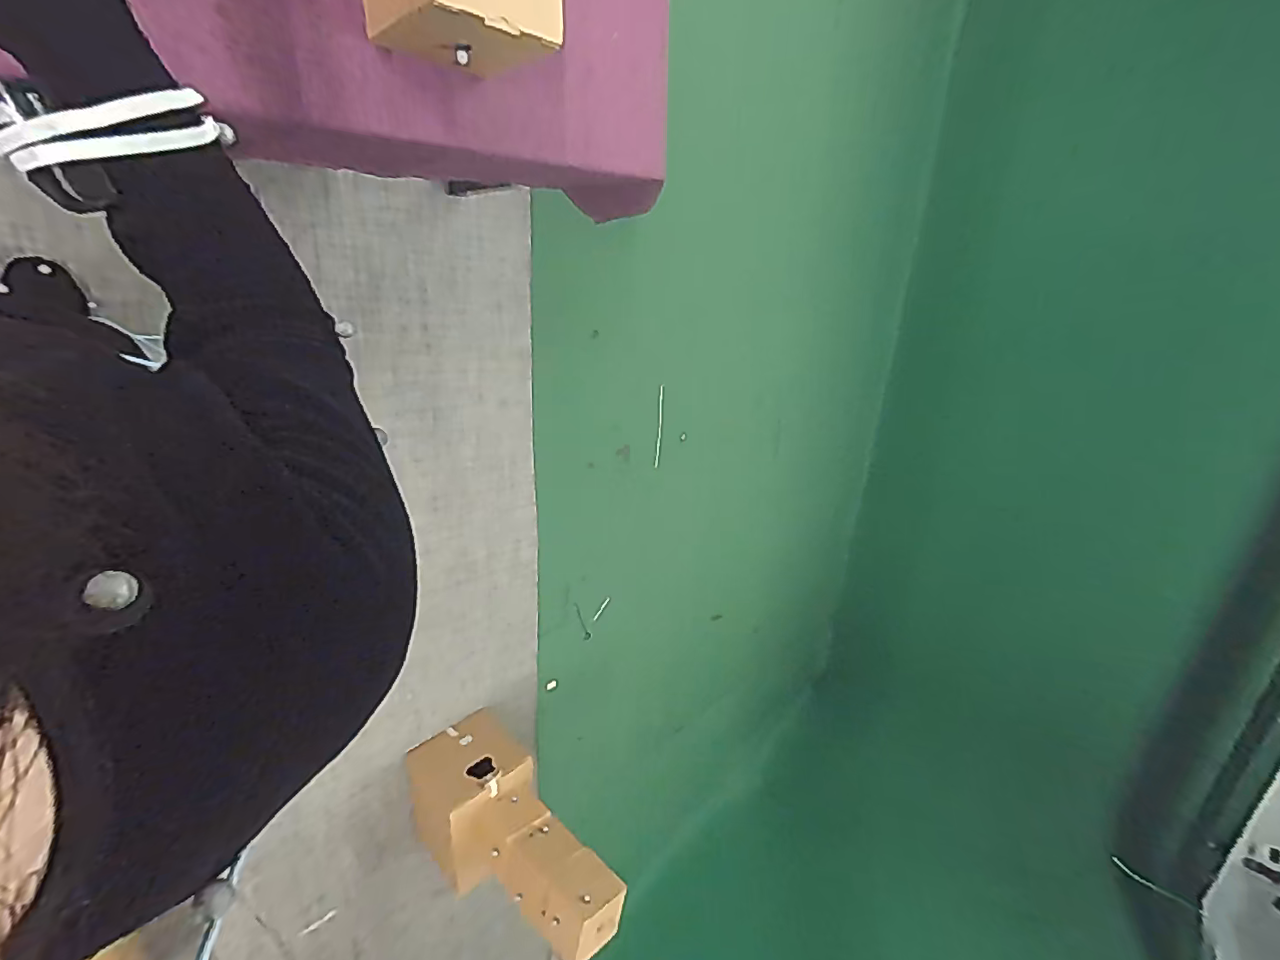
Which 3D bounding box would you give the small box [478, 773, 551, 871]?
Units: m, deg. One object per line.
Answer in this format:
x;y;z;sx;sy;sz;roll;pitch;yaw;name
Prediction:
-0.419;1.121;1.786;0.168;0.176;0.179;-5;110;-48;small box

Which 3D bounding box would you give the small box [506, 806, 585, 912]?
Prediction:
-0.299;1.174;1.690;0.168;0.176;0.179;-1;106;-49;small box

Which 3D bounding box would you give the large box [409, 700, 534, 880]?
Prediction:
-0.600;1.100;1.955;0.320;0.320;0.408;-19;121;-42;large box

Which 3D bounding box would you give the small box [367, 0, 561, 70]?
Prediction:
-0.206;-0.603;0.619;0.168;0.176;0.179;-19;121;-42;small box

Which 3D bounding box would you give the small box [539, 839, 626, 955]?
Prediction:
-0.174;1.215;1.591;0.179;0.176;0.168;0;106;-49;small box
